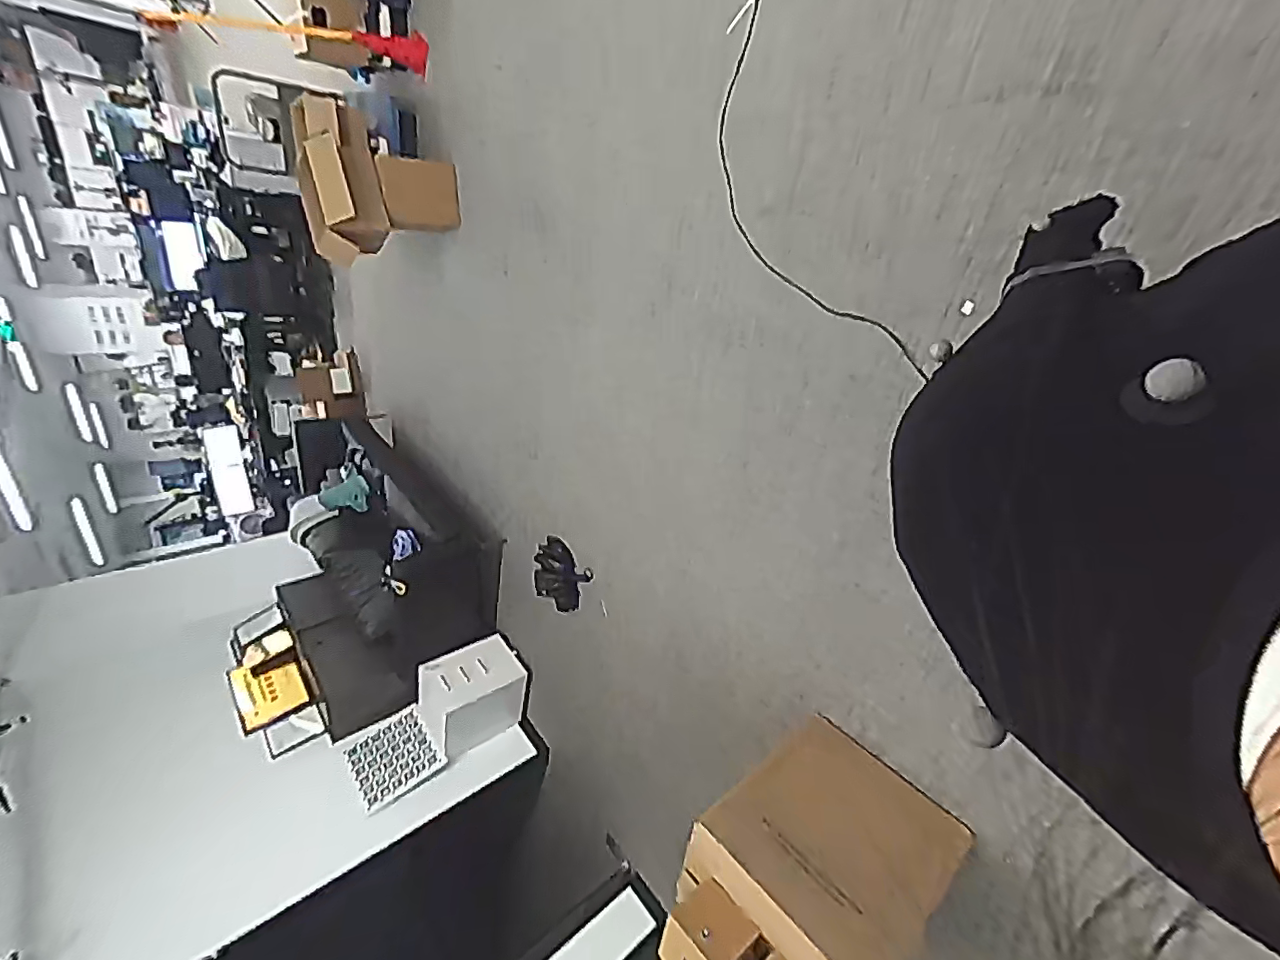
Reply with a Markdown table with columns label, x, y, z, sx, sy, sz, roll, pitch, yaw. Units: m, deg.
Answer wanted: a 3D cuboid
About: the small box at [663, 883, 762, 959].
| label | x | y | z | sx | sy | sz | roll | pitch | yaw |
| --- | --- | --- | --- | --- | --- | --- | --- | --- | --- |
| small box | 0.188 | 1.203 | 1.393 | 0.179 | 0.176 | 0.168 | 28 | 115 | 43 |
